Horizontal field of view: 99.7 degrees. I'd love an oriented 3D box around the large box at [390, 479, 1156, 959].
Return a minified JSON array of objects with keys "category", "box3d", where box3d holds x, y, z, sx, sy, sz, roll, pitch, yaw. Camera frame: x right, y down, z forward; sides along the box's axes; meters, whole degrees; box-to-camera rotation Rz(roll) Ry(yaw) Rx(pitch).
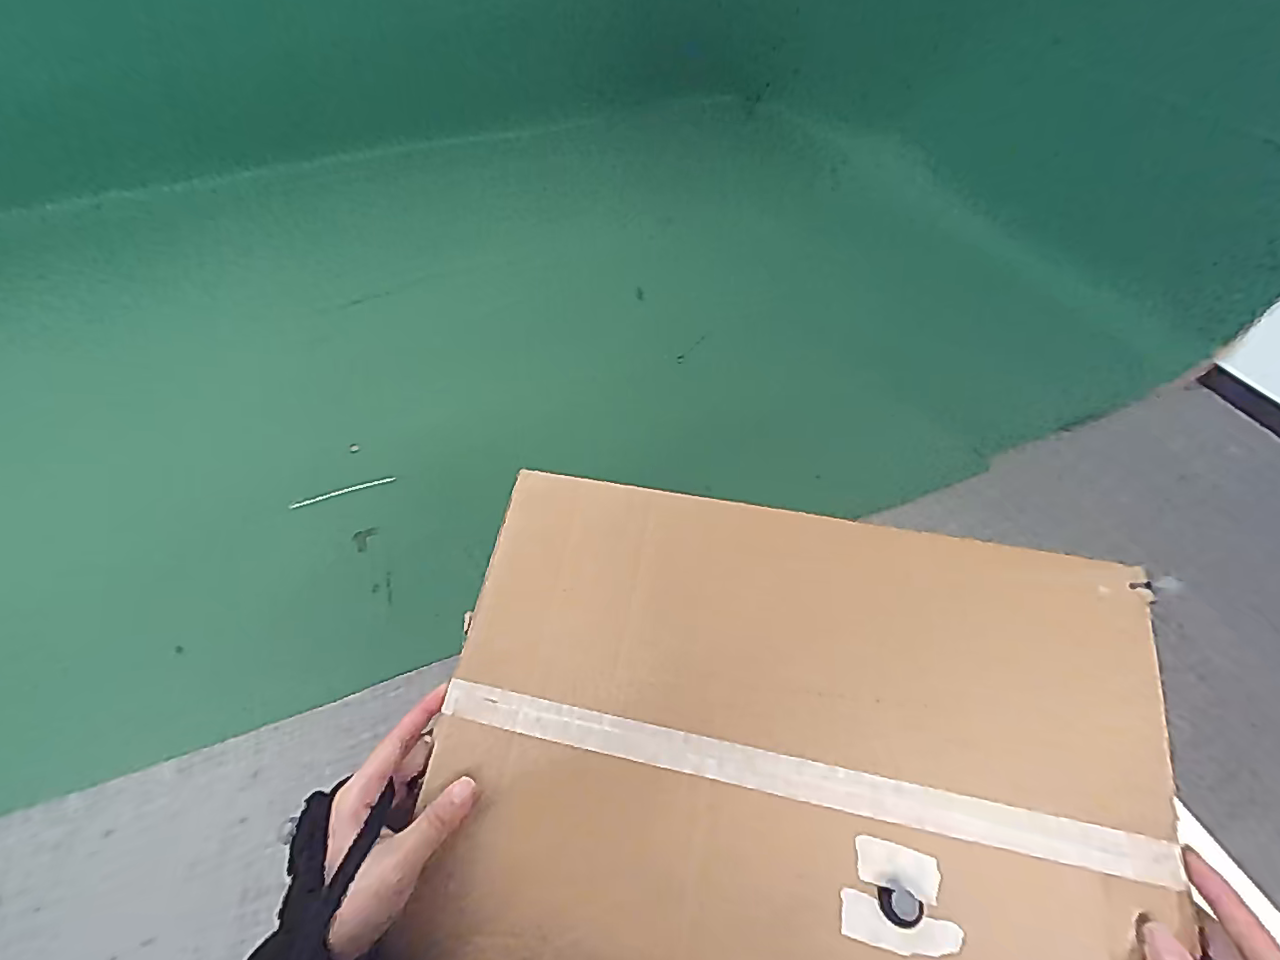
[{"category":"large box","box3d":[0.089,0.218,0.462,0.408,0.320,0.320,8,70,8]}]
